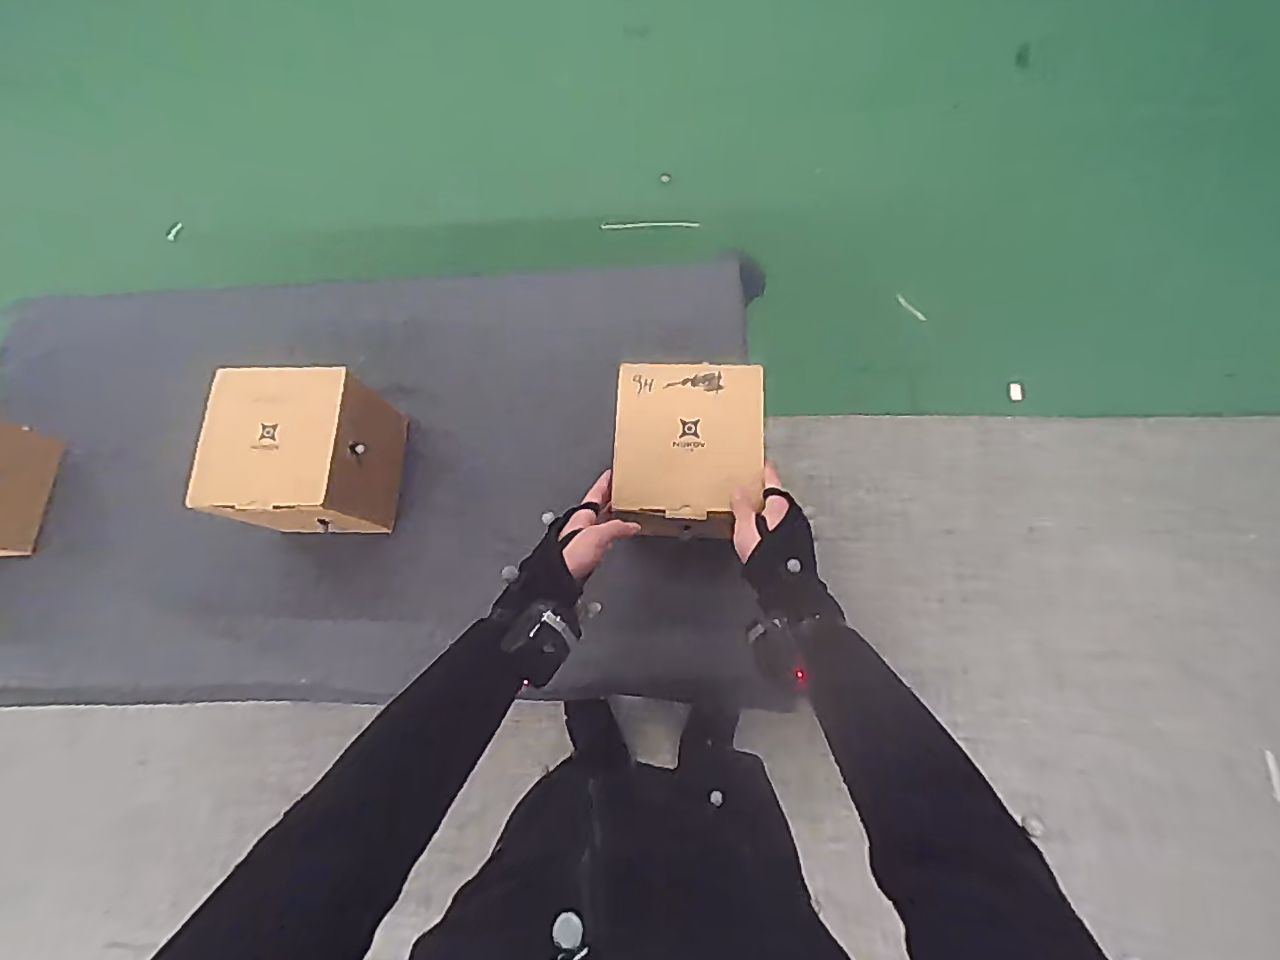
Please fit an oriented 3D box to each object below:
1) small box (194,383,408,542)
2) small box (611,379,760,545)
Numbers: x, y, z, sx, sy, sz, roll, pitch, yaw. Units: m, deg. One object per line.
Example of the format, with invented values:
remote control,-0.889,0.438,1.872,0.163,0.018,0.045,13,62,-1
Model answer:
small box,-0.429,-0.013,0.718,0.168,0.176,0.179,-1,74,2
small box,0.059,-0.013,0.684,0.168,0.176,0.179,1,76,4
